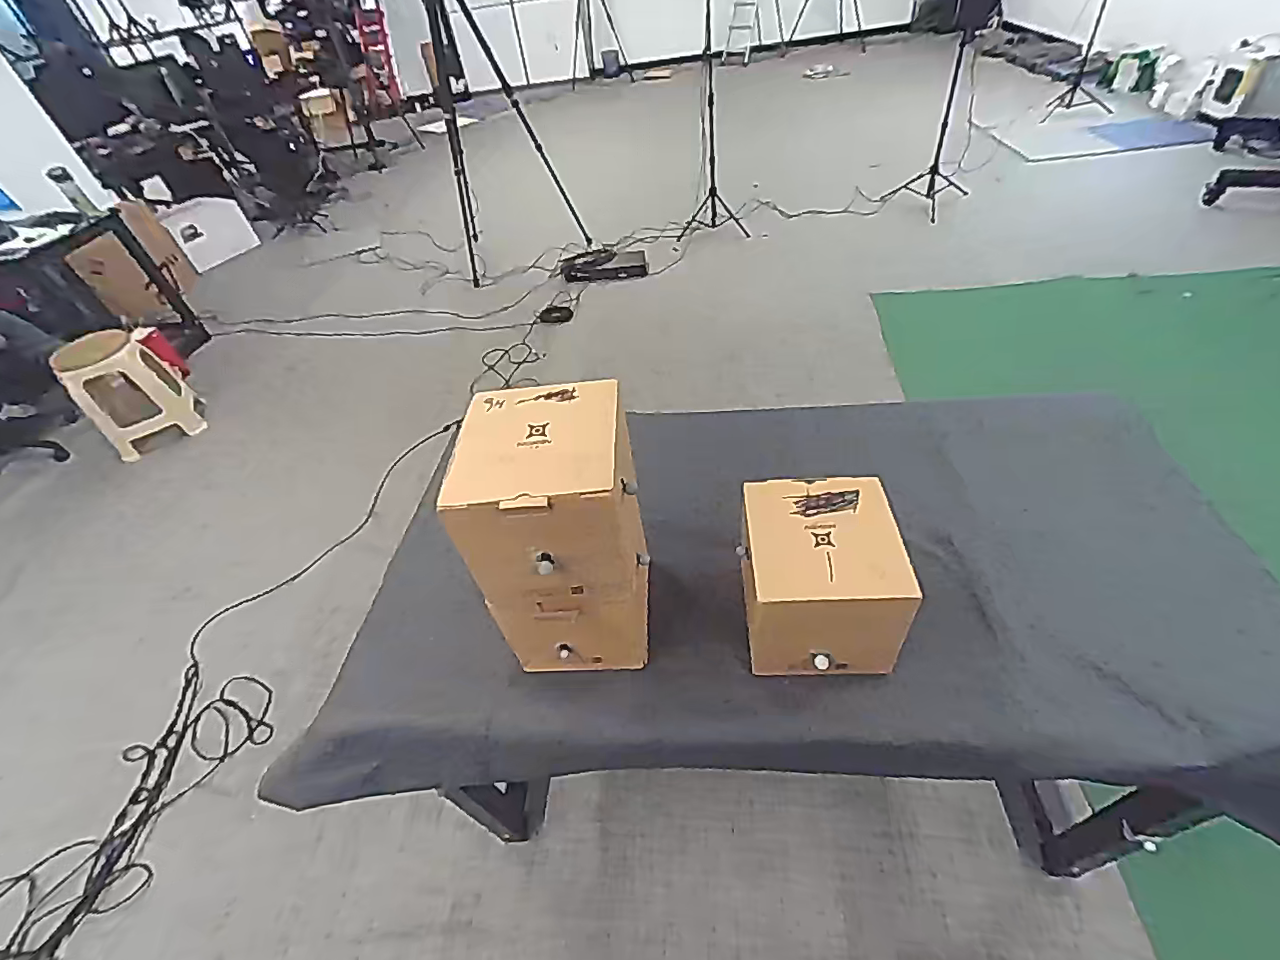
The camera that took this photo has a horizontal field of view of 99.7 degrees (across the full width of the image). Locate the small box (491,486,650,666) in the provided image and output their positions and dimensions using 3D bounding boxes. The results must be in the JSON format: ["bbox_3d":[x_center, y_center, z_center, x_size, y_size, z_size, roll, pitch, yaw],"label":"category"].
[{"bbox_3d":[-0.078,0.125,0.714,0.168,0.176,0.179,-4,45,5],"label":"small box"}]

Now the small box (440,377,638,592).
[{"bbox_3d":[-0.092,0.012,0.597,0.168,0.176,0.179,-5,46,5],"label":"small box"}]

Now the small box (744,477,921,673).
[{"bbox_3d":[0.218,0.117,0.668,0.168,0.176,0.179,-3,44,7],"label":"small box"}]
